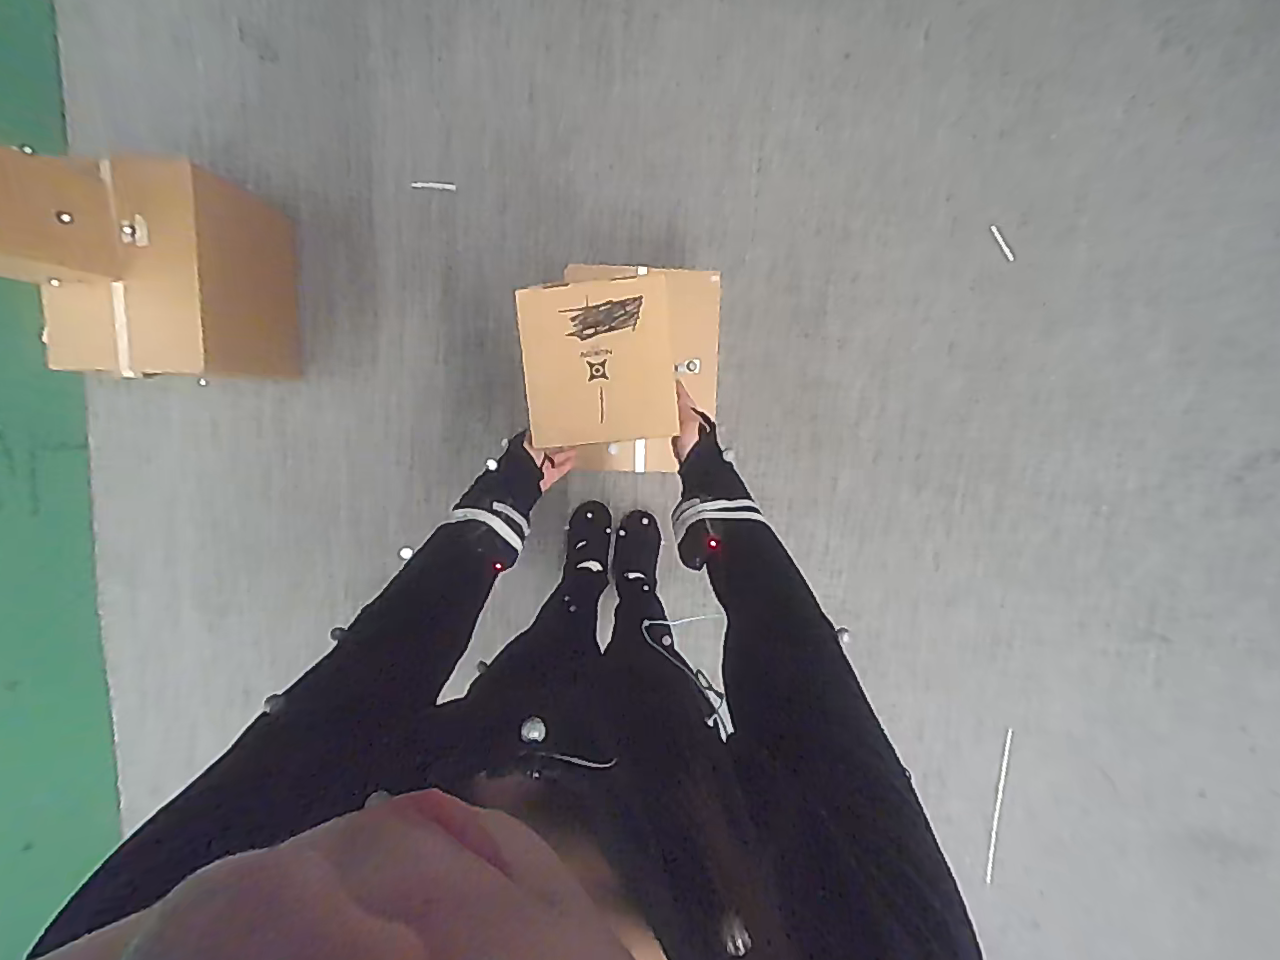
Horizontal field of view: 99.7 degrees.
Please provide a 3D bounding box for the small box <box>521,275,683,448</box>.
[{"bbox_3d":[-0.038,-0.134,0.668,0.168,0.176,0.179,-5,96,4],"label":"small box"}]

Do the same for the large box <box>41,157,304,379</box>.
[{"bbox_3d":[-1.003,-0.437,1.208,0.320,0.320,0.408,2,97,0],"label":"large box"}]

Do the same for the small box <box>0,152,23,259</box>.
[{"bbox_3d":[-1.088,-0.441,0.797,0.168,0.176,0.179,2,99,3],"label":"small box"}]
